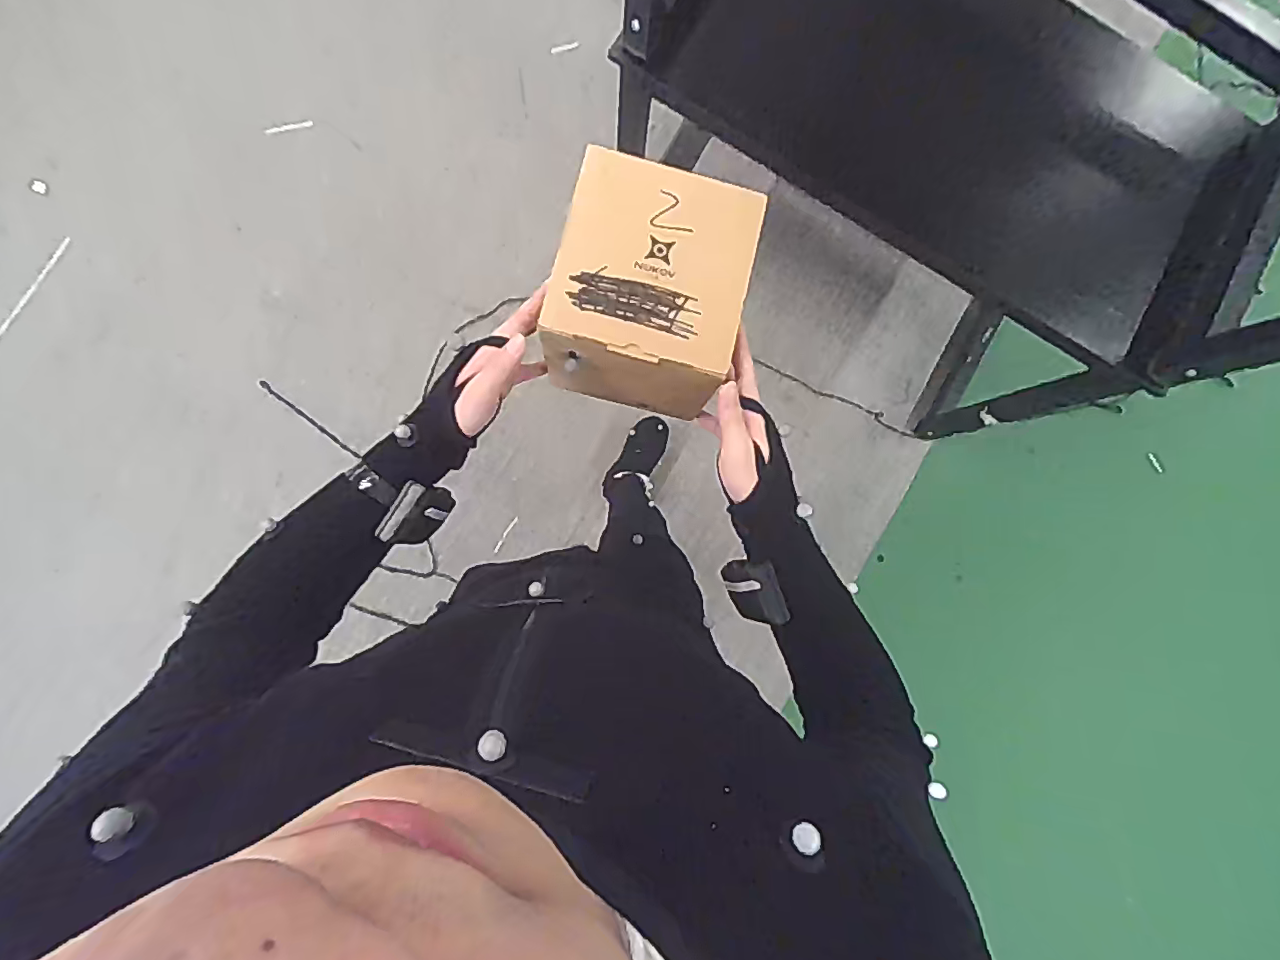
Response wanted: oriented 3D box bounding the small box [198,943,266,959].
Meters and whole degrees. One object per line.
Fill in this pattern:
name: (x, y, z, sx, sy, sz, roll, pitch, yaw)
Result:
small box: (-1.062, 1.308, 1.338, 0.168, 0.176, 0.179, 17, 85, -4)
